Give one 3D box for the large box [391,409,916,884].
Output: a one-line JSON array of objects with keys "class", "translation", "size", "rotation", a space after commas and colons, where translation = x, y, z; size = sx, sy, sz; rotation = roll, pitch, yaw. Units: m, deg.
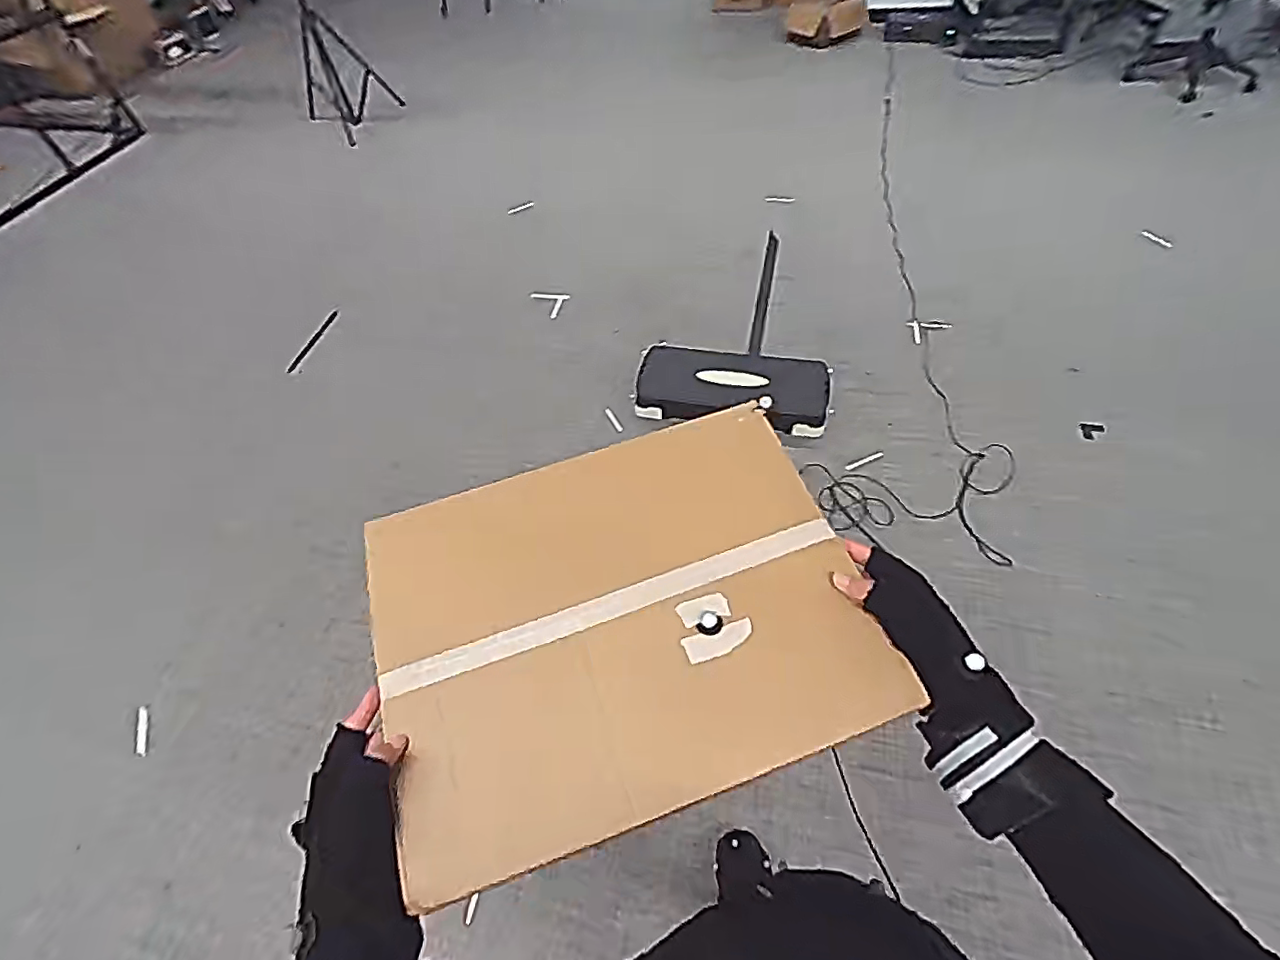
[{"class": "large box", "translation": [-0.005, 0.182, 0.608], "size": [0.408, 0.320, 0.320], "rotation": [-17, 61, -7]}]
